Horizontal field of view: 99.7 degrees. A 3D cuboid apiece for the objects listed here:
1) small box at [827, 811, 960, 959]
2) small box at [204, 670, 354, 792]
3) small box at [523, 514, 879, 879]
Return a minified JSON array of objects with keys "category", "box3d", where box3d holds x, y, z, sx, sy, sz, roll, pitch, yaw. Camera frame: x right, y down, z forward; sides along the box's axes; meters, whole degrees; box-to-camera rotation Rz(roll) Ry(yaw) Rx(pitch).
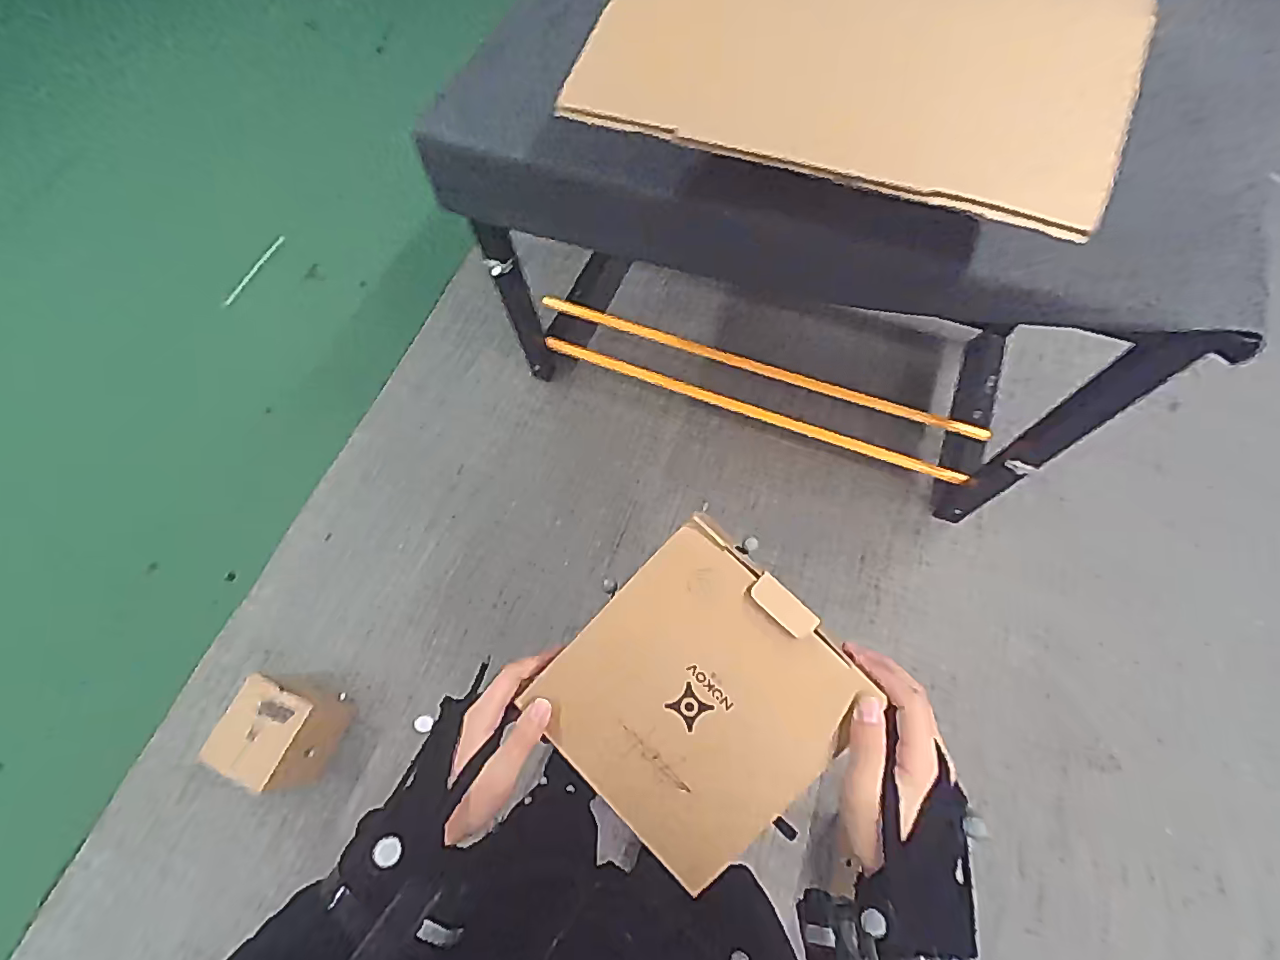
[{"category":"small box","box3d":[0.454,0.734,0.987,0.168,0.176,0.179,15,68,9]},{"category":"small box","box3d":[-0.750,0.526,1.150,0.168,0.176,0.179,21,71,12]},{"category":"small box","box3d":[0.045,0.142,0.428,0.168,0.176,0.179,43,94,9]}]
